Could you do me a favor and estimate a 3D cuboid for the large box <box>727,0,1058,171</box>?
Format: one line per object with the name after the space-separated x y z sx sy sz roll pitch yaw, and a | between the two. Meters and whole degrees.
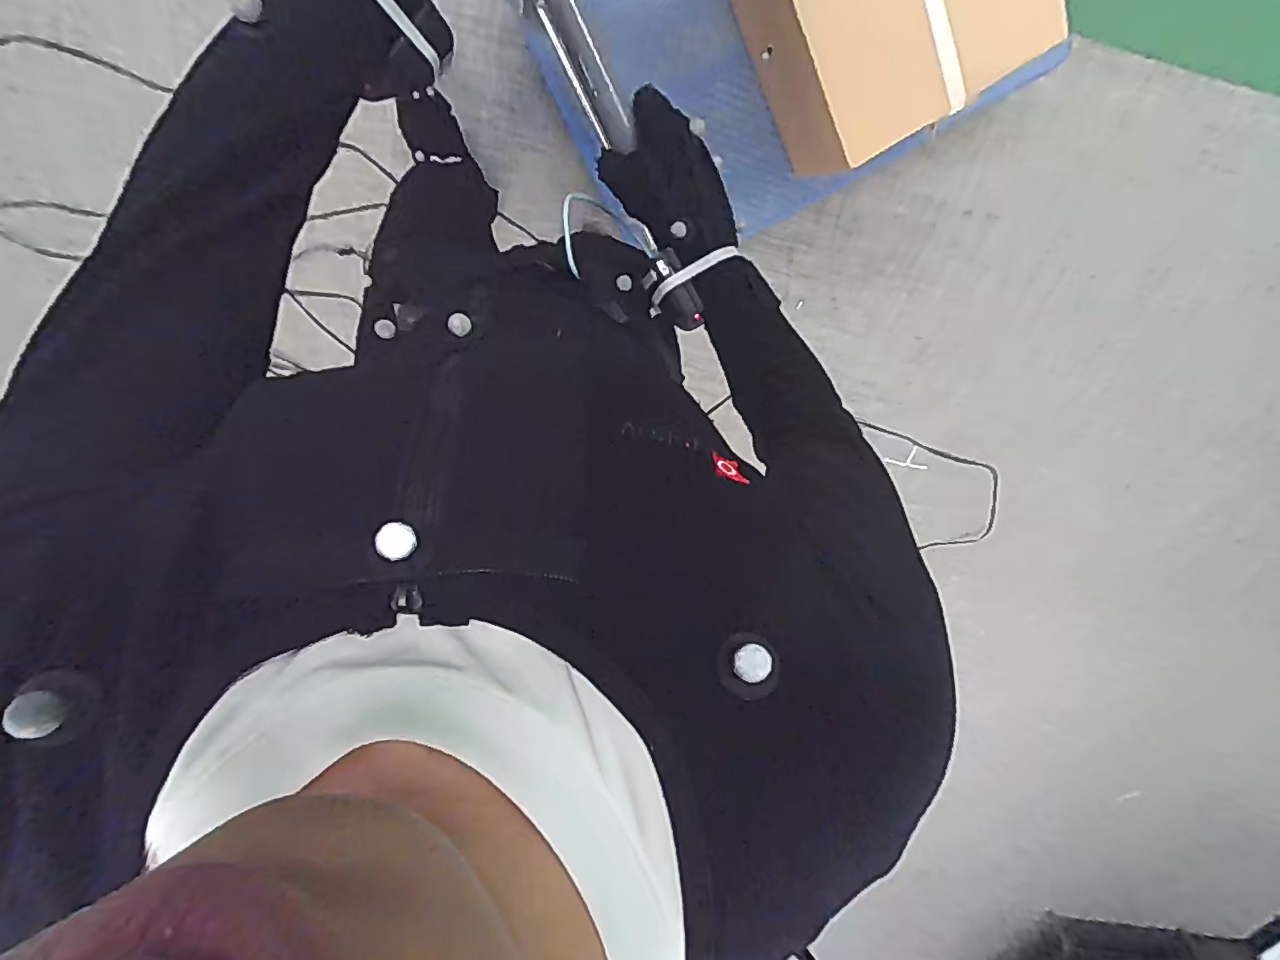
0.337 -0.756 0.822 0.320 0.320 0.408 -28 114 12 | large box
